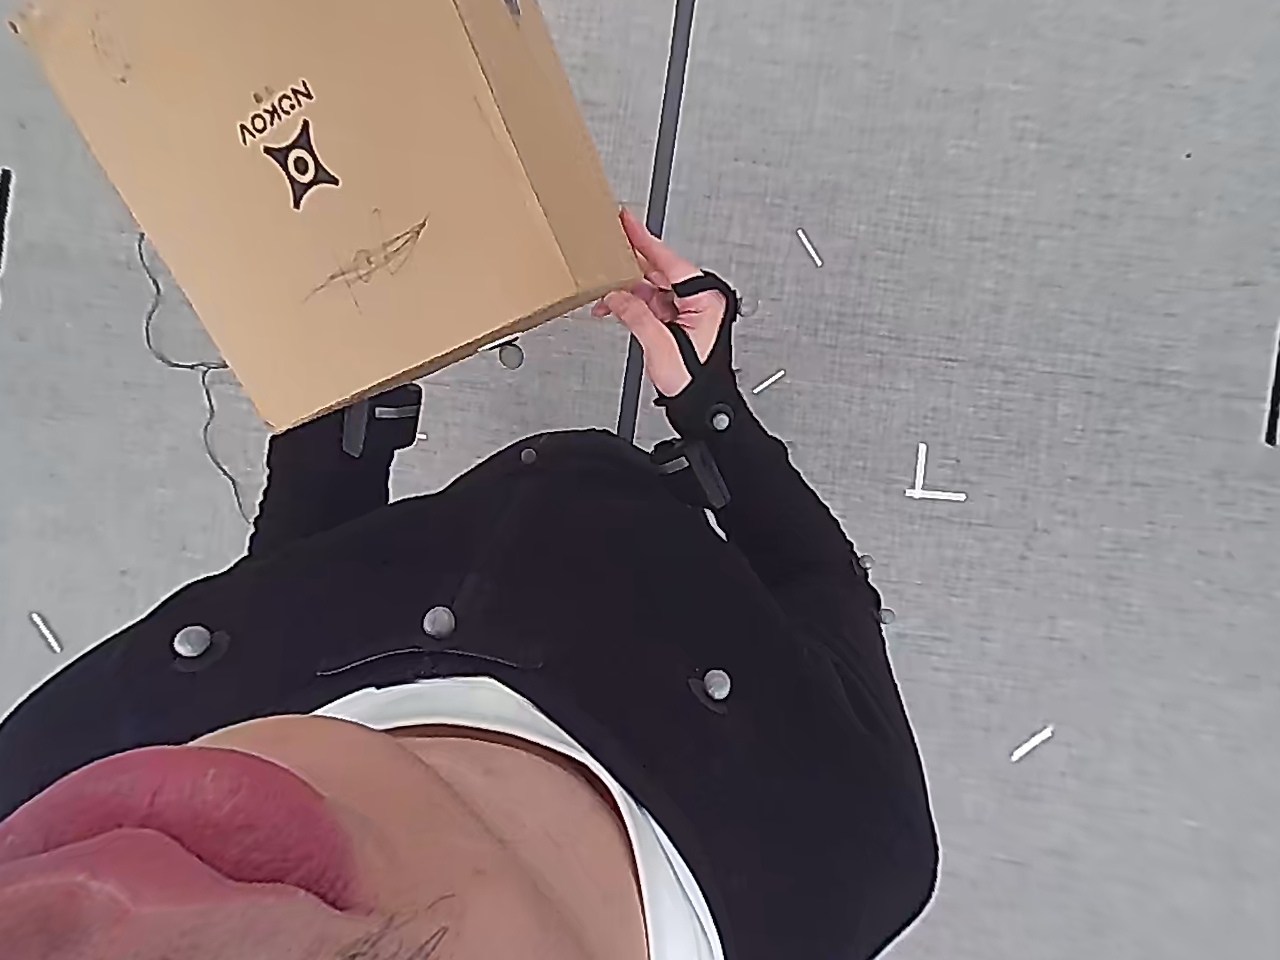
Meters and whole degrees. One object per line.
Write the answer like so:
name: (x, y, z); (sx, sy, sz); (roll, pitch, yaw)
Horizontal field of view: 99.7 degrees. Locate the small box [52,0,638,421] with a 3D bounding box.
small box: (-0.116, -0.157, 0.290); (0.168, 0.176, 0.179); (-19, 108, 18)
